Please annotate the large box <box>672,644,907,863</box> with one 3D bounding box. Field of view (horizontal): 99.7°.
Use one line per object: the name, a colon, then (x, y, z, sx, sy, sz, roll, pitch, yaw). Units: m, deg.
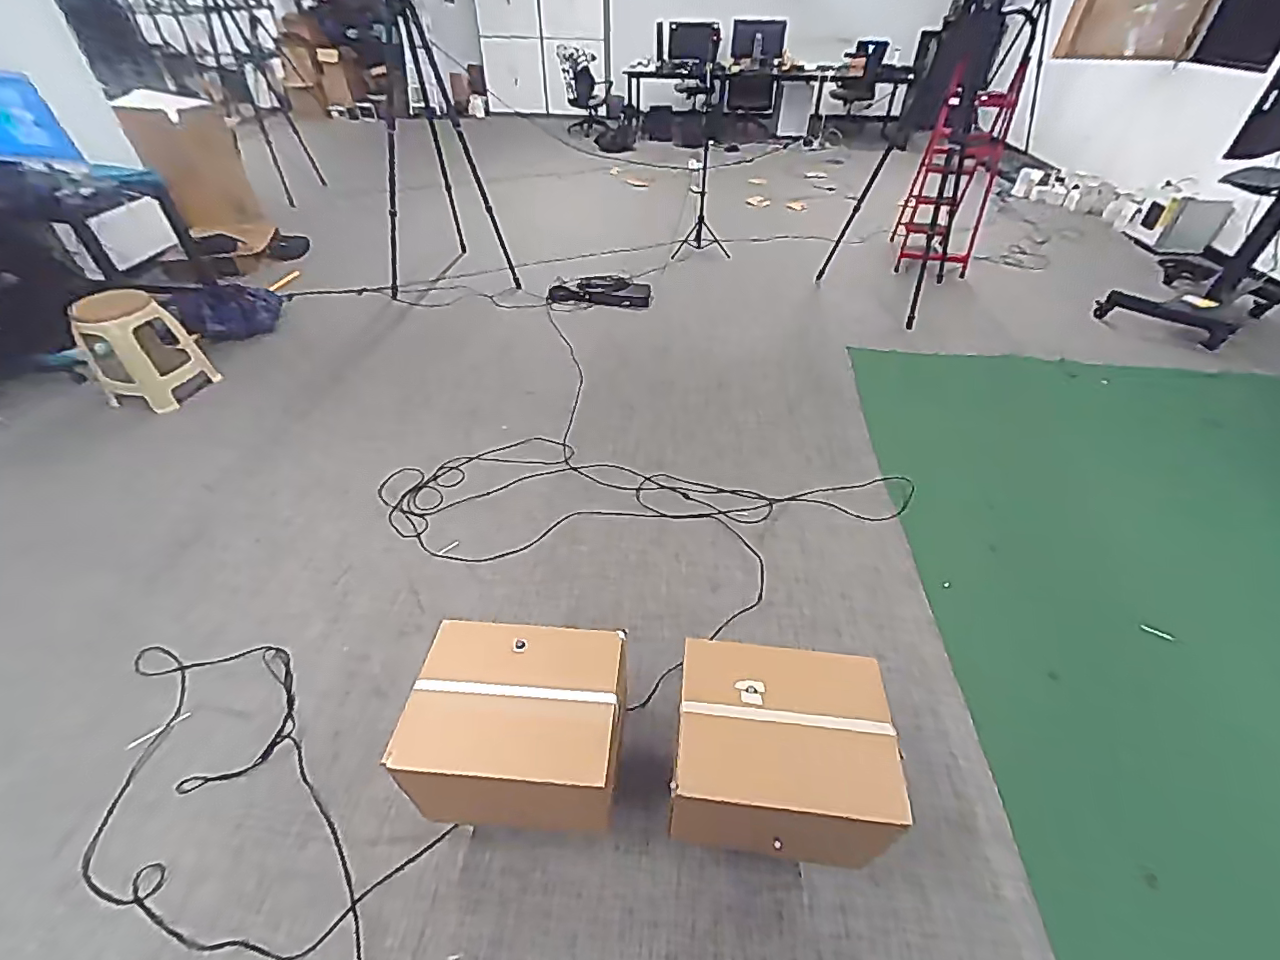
large box: (0.282, 0.581, 1.151, 0.408, 0.320, 0.320, 5, 42, 5)
